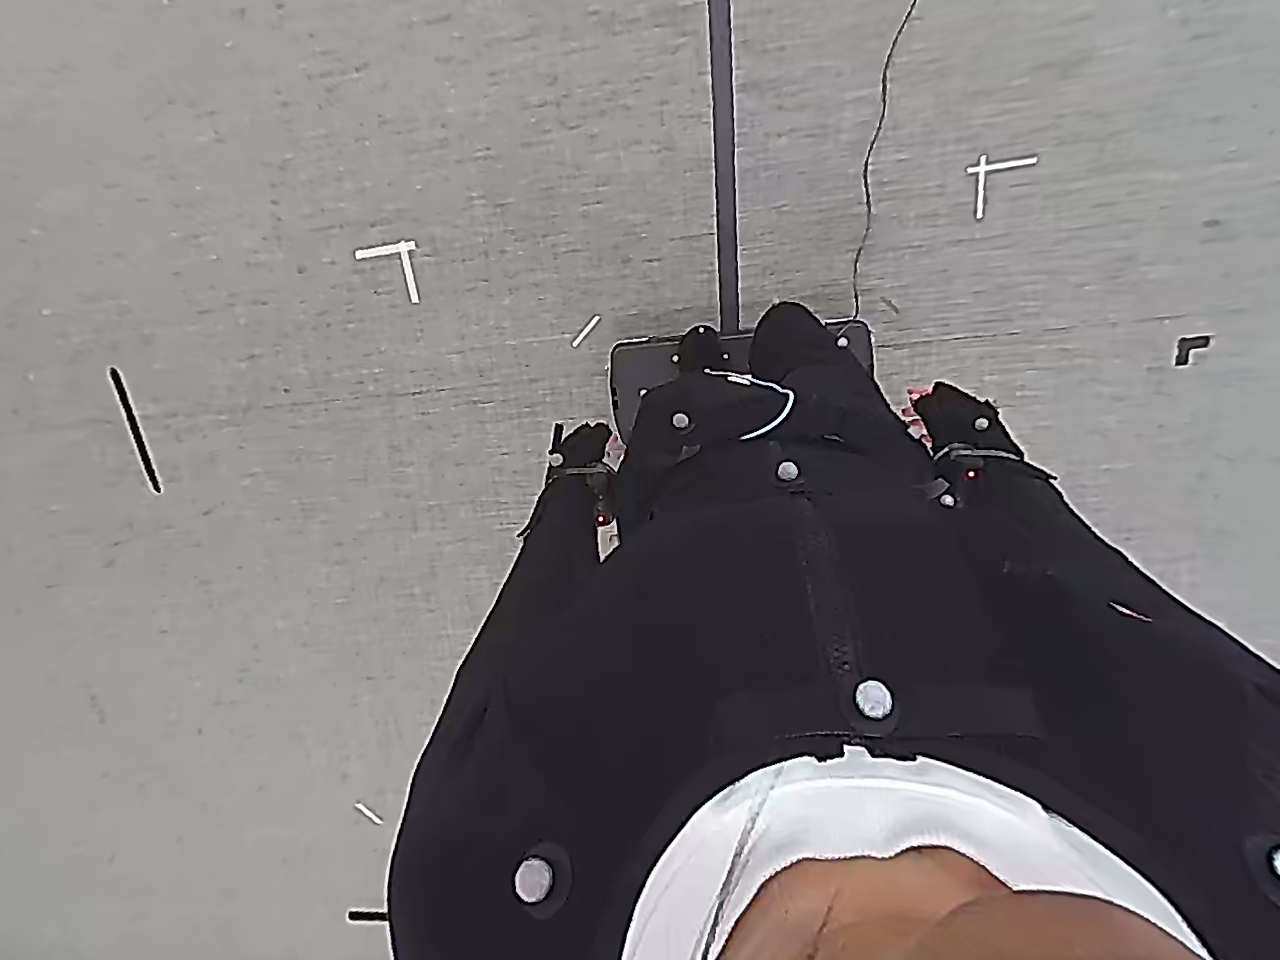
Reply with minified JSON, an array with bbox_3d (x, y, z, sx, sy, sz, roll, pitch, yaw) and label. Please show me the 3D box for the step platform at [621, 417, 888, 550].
[{"bbox_3d":[0.291,0.012,1.447,0.684,0.204,0.286,-5,104,8],"label":"step platform"}]
